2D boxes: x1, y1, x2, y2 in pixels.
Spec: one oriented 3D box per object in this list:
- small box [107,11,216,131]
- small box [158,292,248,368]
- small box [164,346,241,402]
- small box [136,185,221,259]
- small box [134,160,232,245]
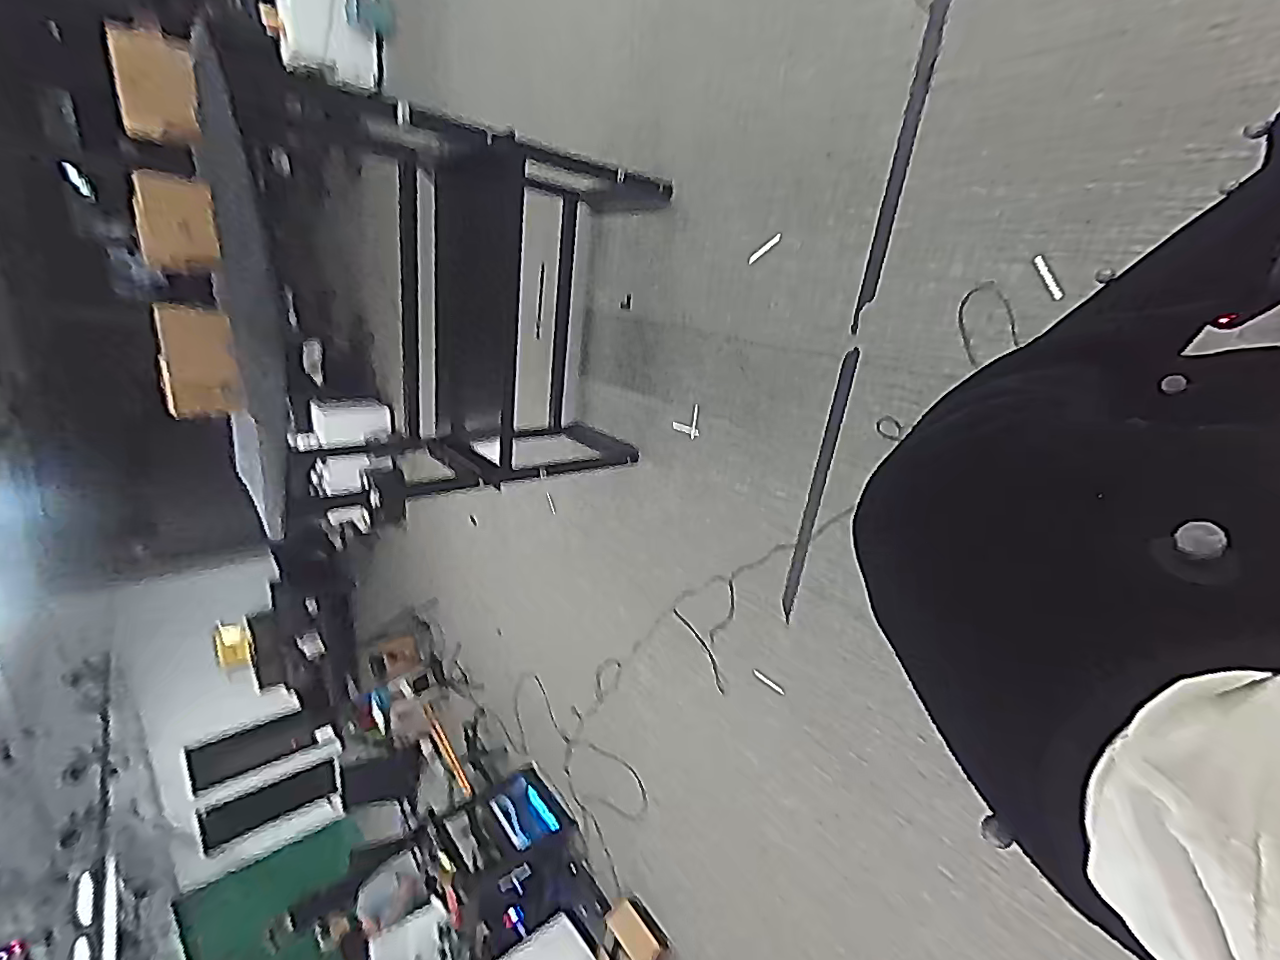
[{"bbox_3d":[-1.126,-0.955,1.281,0.179,0.176,0.168,21,114,46],"label":"small box"},{"bbox_3d":[-1.194,-0.409,1.480,0.168,0.176,0.179,26,116,44],"label":"small box"},{"bbox_3d":[-1.390,-0.342,1.719,0.179,0.176,0.168,18,112,46],"label":"small box"},{"bbox_3d":[-1.353,-0.754,1.589,0.168,0.176,0.179,27,117,42],"label":"small box"},{"bbox_3d":[-1.161,-0.701,1.380,0.179,0.176,0.168,25,116,45],"label":"small box"}]
